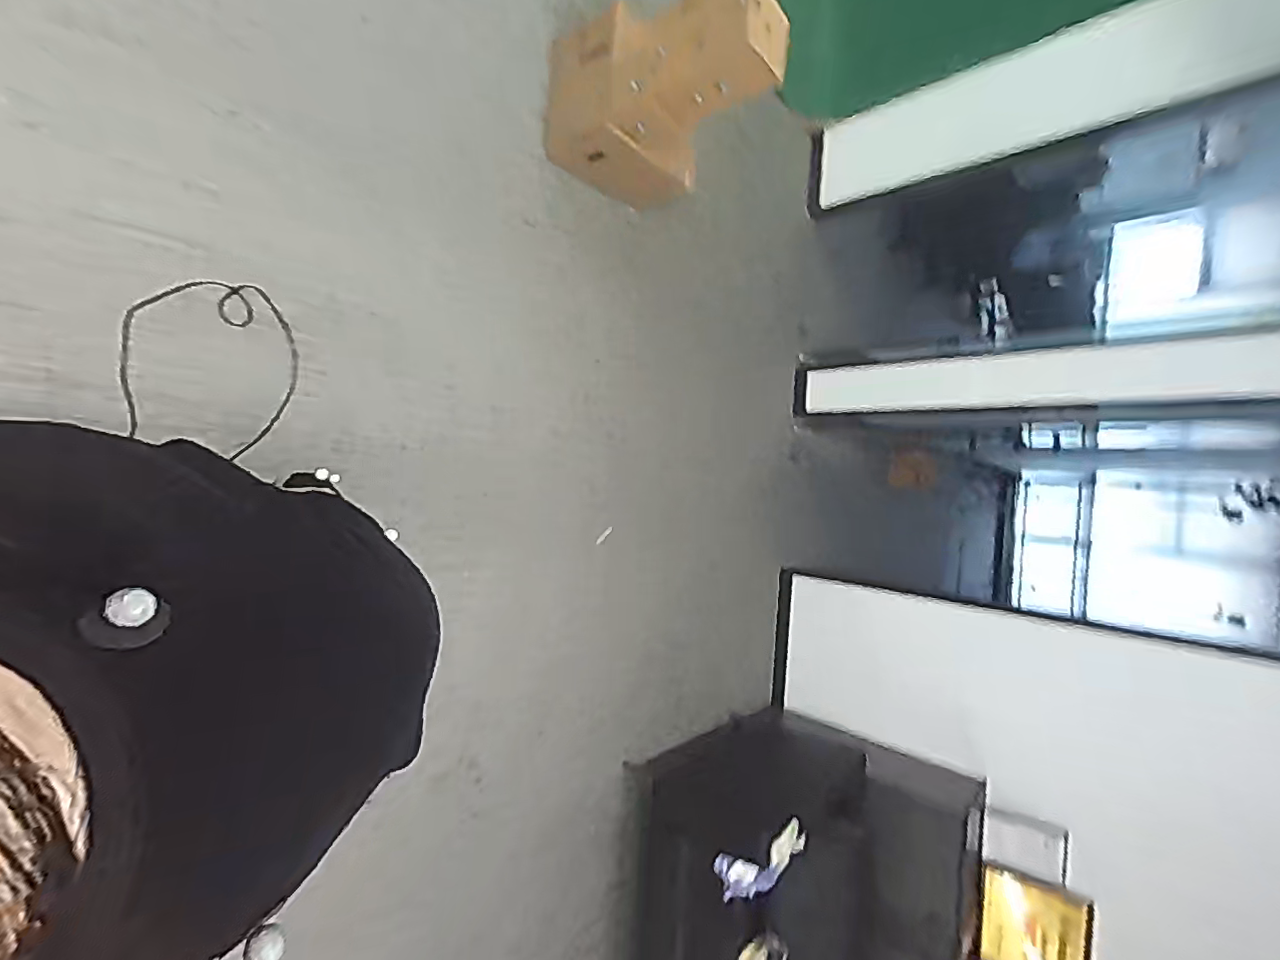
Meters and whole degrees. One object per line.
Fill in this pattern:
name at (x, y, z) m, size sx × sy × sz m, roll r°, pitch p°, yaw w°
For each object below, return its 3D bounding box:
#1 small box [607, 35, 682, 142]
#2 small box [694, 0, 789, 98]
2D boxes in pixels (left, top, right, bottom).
small box at (0.018, -1.158, 1.618) m, size 0.168 × 0.176 × 0.179 m, roll 5°, pitch 90°, yaw -49°
small box at (0.262, -1.135, 1.400) m, size 0.179 × 0.176 × 0.168 m, roll 5°, pitch 90°, yaw -48°
